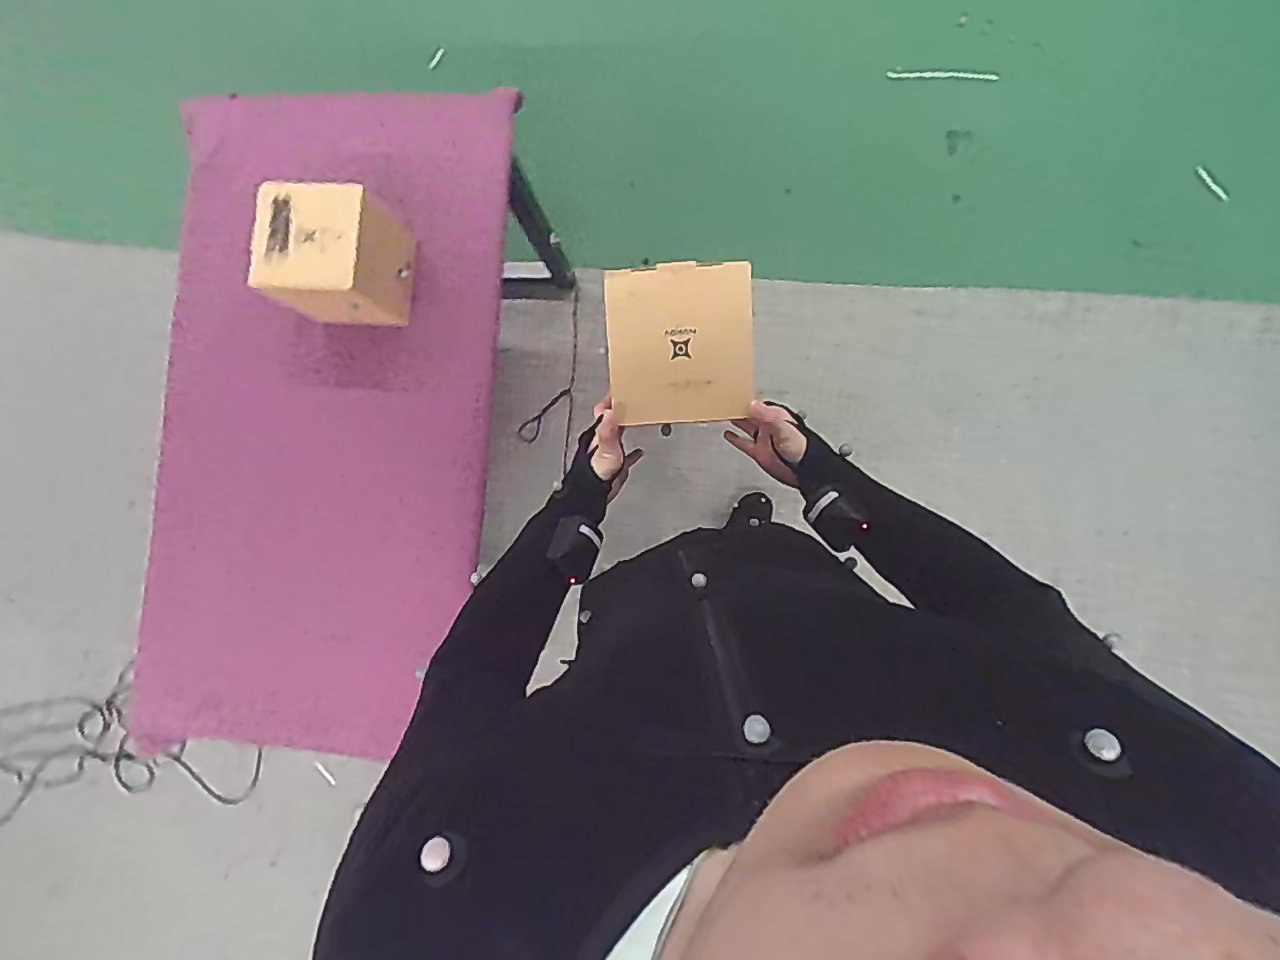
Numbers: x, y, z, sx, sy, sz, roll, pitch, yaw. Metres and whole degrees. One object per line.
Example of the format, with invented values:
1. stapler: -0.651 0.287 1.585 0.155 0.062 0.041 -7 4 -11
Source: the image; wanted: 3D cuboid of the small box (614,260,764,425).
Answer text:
1. small box: 0.055 -0.158 0.673 0.168 0.176 0.179 -2 97 2
